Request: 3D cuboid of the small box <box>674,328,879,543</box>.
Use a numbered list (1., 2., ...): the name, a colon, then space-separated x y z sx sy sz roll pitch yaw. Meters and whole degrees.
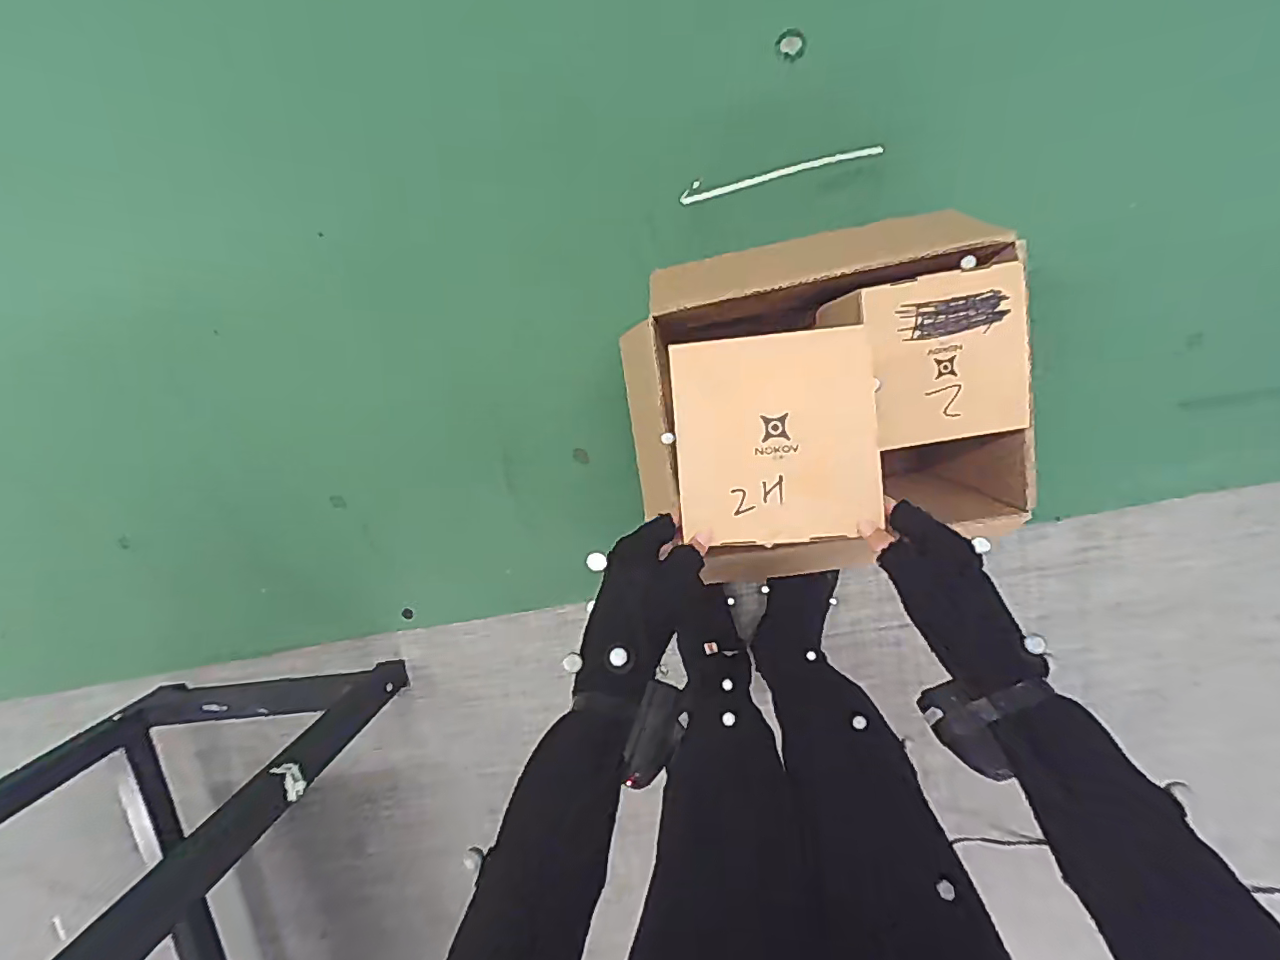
1. small box: 0.122 -0.036 0.536 0.168 0.176 0.179 -4 90 8
